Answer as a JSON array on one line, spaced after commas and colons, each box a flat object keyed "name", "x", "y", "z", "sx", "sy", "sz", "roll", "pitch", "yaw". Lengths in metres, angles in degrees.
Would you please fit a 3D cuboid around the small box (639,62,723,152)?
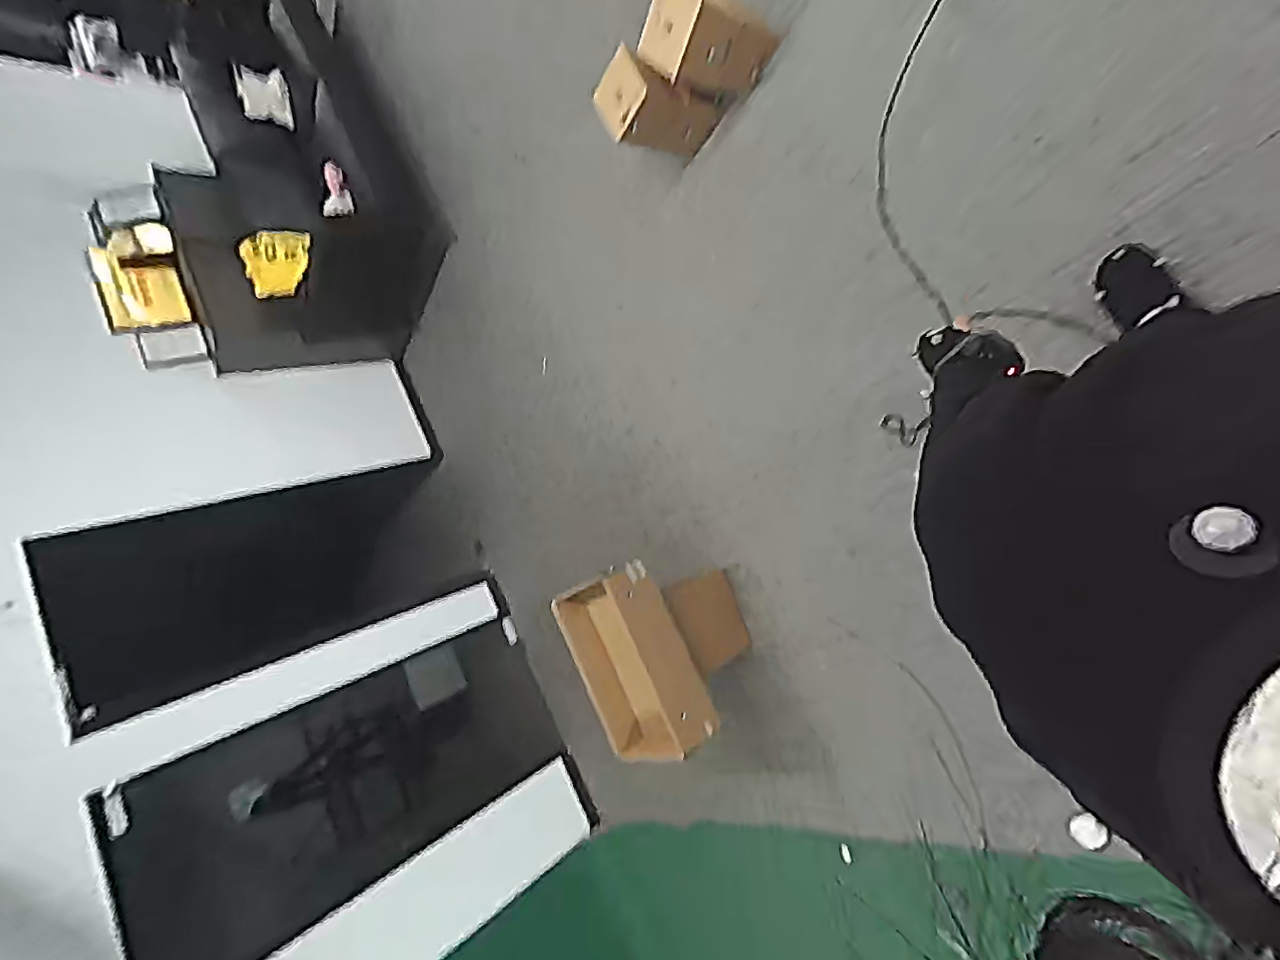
[{"name": "small box", "x": 0.134, "y": -1.159, "z": 1.674, "sx": 0.179, "sy": 0.176, "sz": 0.168, "roll": -39, "pitch": 74, "yaw": 49}]

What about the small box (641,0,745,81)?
[{"name": "small box", "x": 0.139, "y": -1.175, "z": 1.409, "sx": 0.179, "sy": 0.176, "sz": 0.168, "roll": 52, "pitch": 137, "yaw": 23}]
